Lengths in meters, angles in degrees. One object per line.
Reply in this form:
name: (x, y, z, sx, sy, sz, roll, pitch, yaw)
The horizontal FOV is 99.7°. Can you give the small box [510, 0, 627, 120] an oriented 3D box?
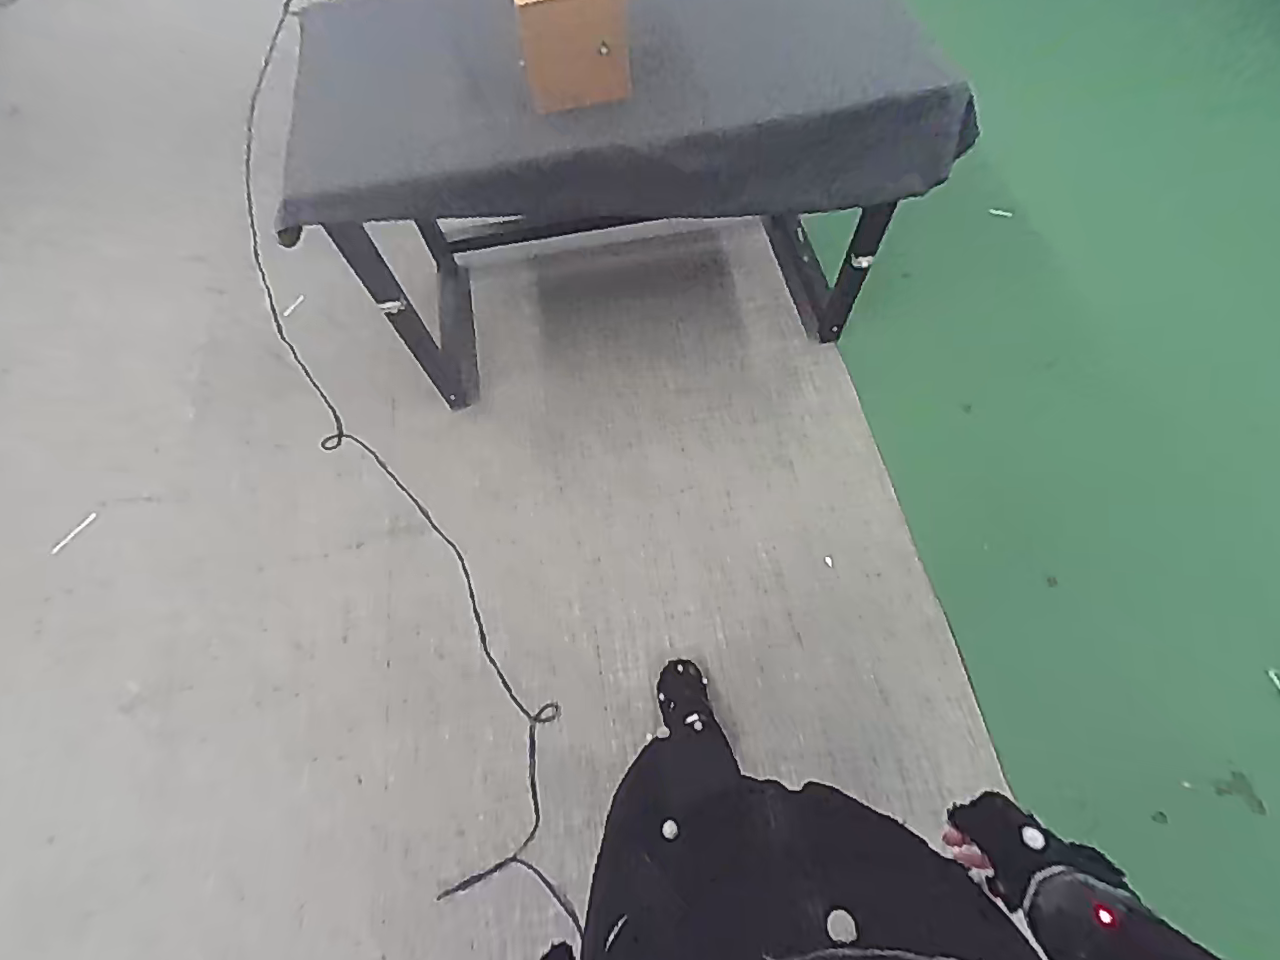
small box: (-0.122, -0.775, 0.948, 0.179, 0.176, 0.168, -13, 64, -1)
